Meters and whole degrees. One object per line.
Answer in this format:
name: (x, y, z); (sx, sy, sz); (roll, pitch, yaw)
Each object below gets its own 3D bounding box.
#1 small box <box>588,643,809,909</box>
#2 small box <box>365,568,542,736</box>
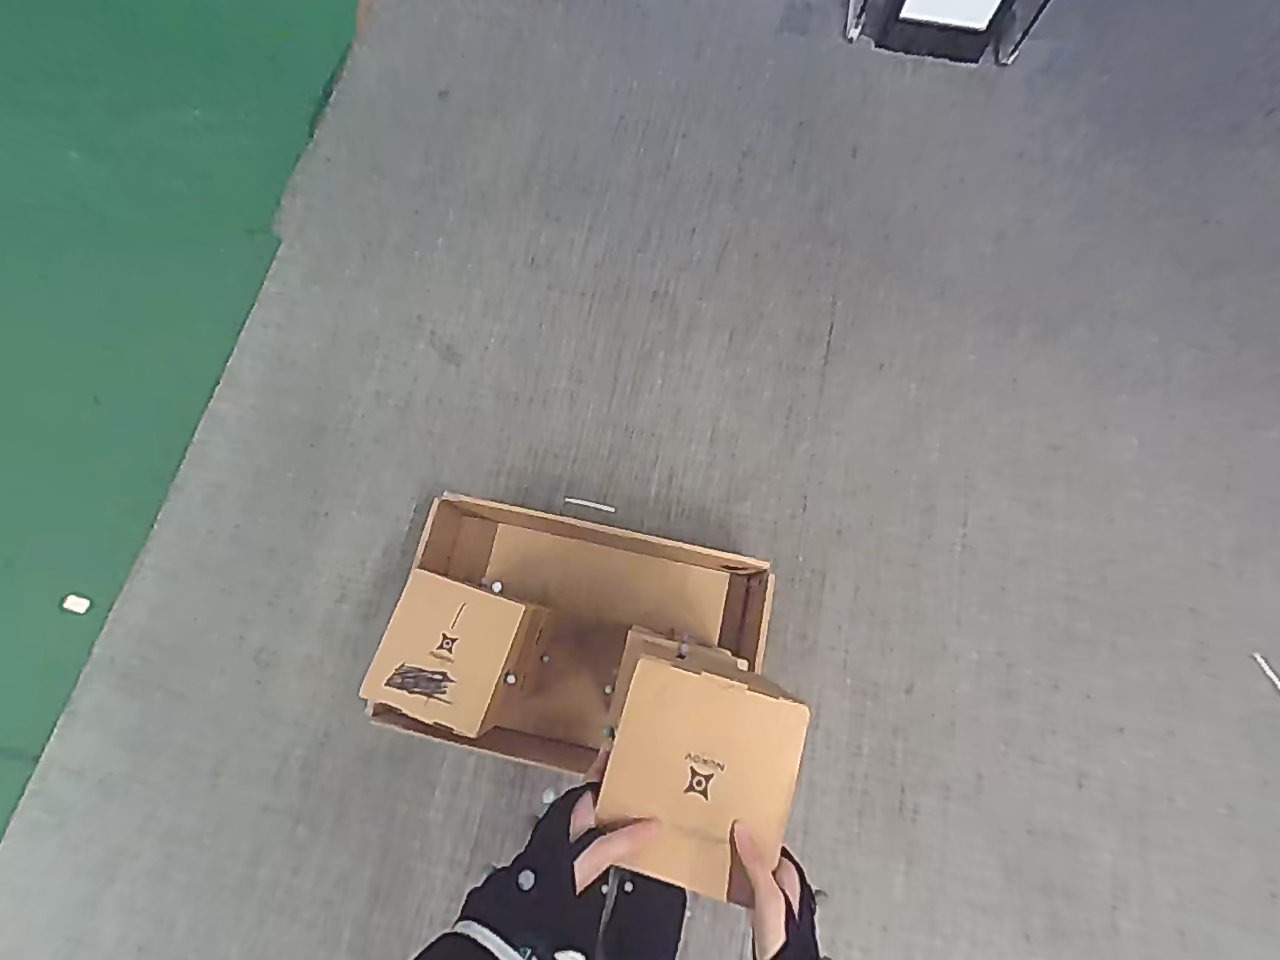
small box: (0.054, 0.281, 0.563); (0.168, 0.176, 0.179); (17, 79, 4)
small box: (-0.255, 0.245, 0.791); (0.168, 0.176, 0.179); (18, 75, 3)
